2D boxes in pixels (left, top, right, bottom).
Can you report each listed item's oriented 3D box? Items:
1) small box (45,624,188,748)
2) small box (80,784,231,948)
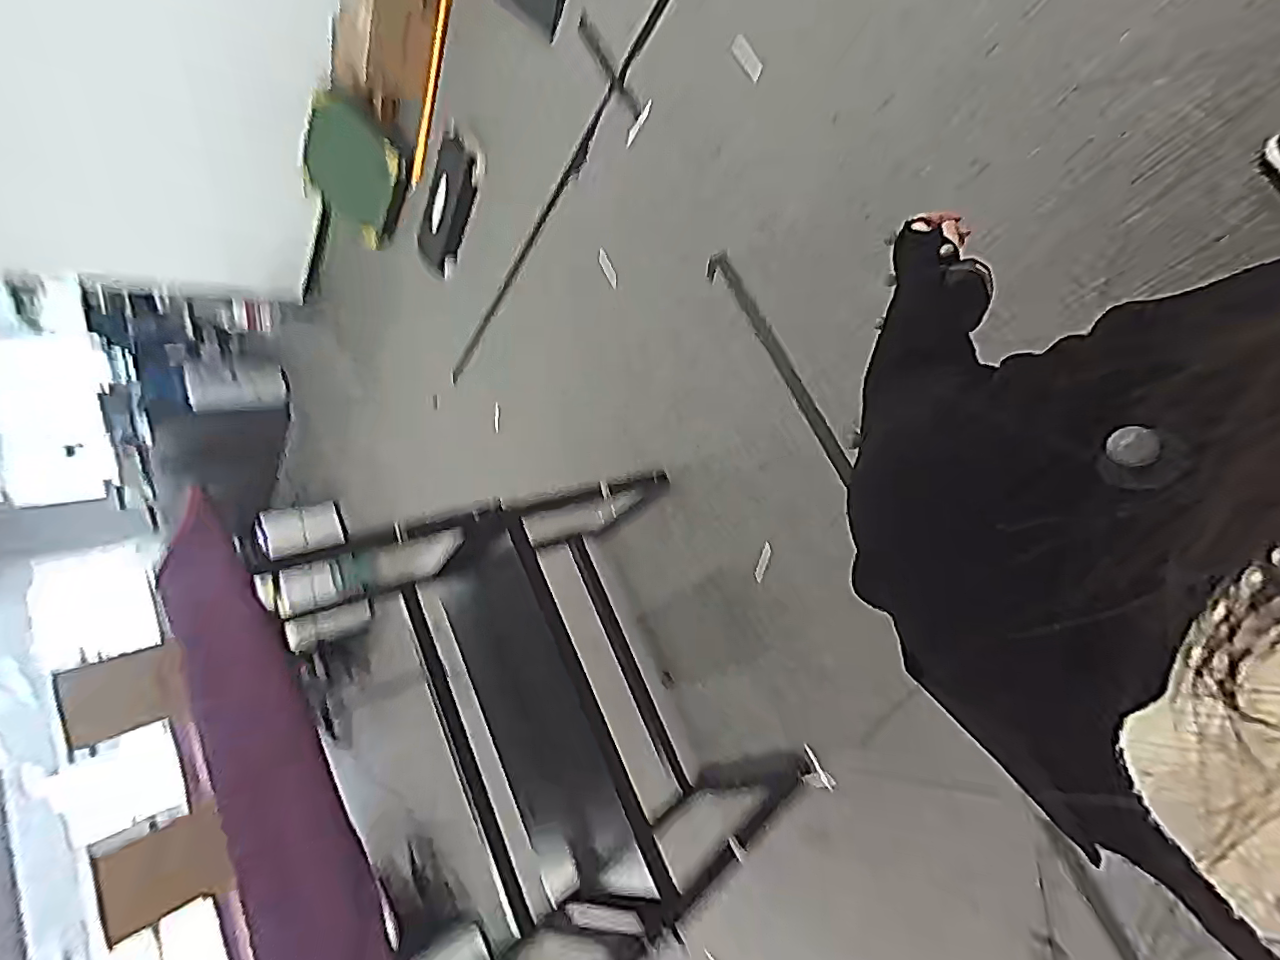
[{"bbox_3d":[-1.002,0.390,1.043,0.168,0.176,0.179,-31,77,45],"label":"small box"},{"bbox_3d":[-0.862,0.671,0.968,0.168,0.176,0.179,-35,75,45],"label":"small box"}]
